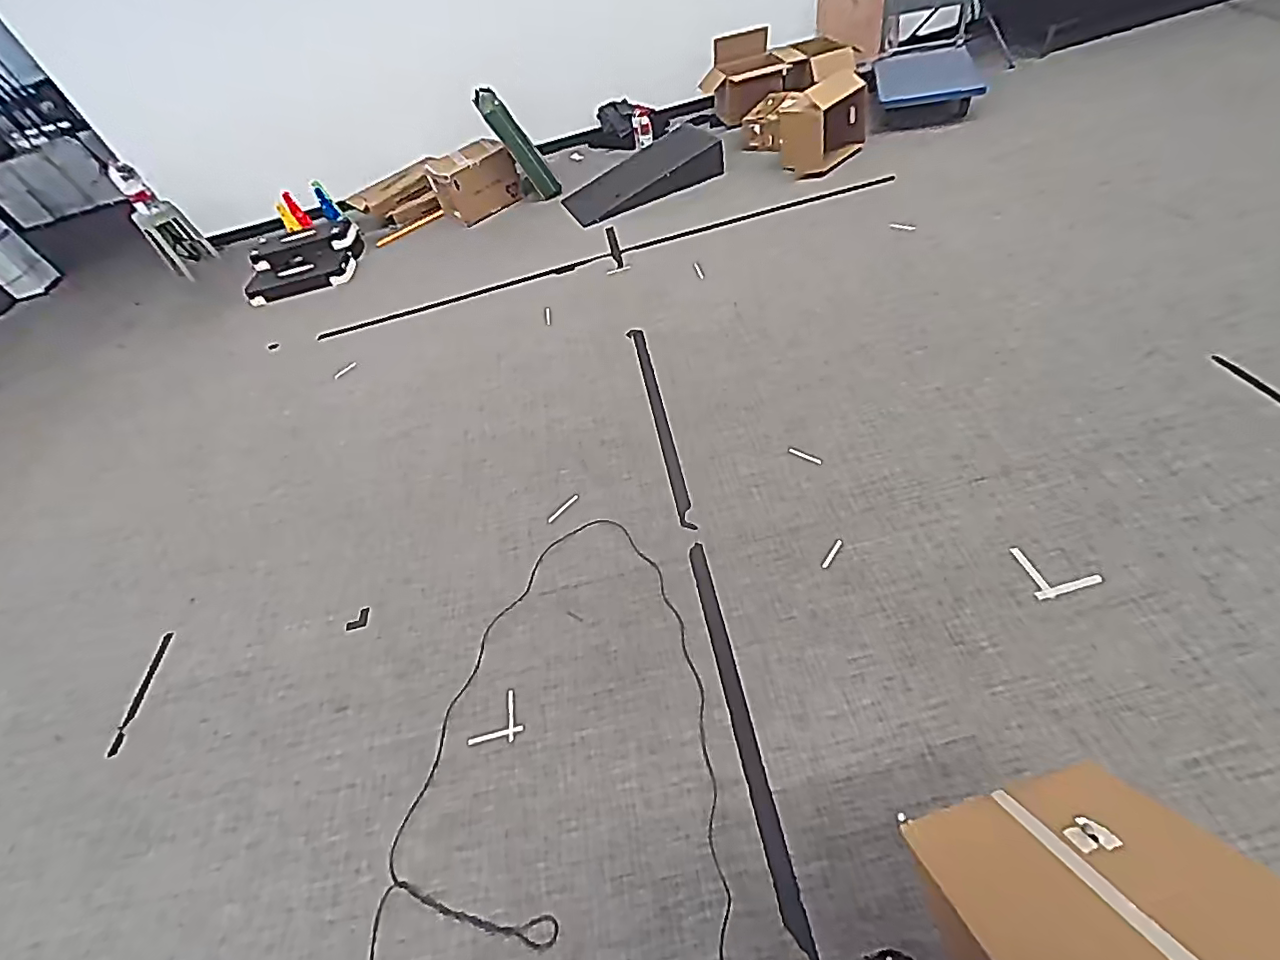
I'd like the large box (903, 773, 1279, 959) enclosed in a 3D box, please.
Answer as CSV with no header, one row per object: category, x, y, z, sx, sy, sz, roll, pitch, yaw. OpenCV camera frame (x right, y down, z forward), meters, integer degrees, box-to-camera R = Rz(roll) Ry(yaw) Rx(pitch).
large box,0.593,0.632,0.629,0.320,0.408,0.320,-19,87,1
